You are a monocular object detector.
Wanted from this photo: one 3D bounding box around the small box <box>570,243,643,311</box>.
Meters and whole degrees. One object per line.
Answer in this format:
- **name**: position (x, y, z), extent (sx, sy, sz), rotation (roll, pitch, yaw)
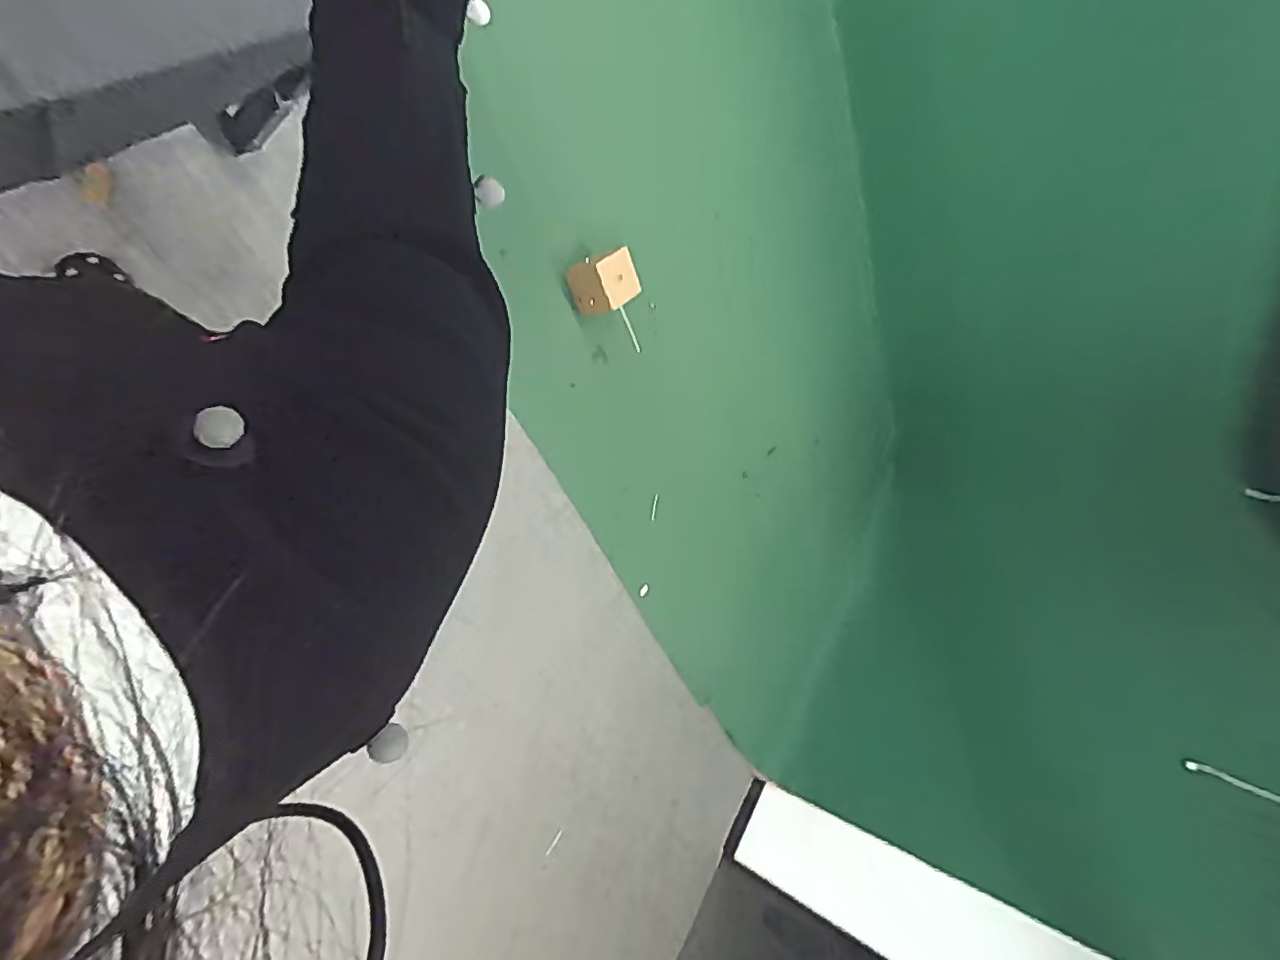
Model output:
- **small box**: position (-0.126, -0.718, 1.925), extent (0.179, 0.176, 0.168), rotation (-46, 127, -33)
